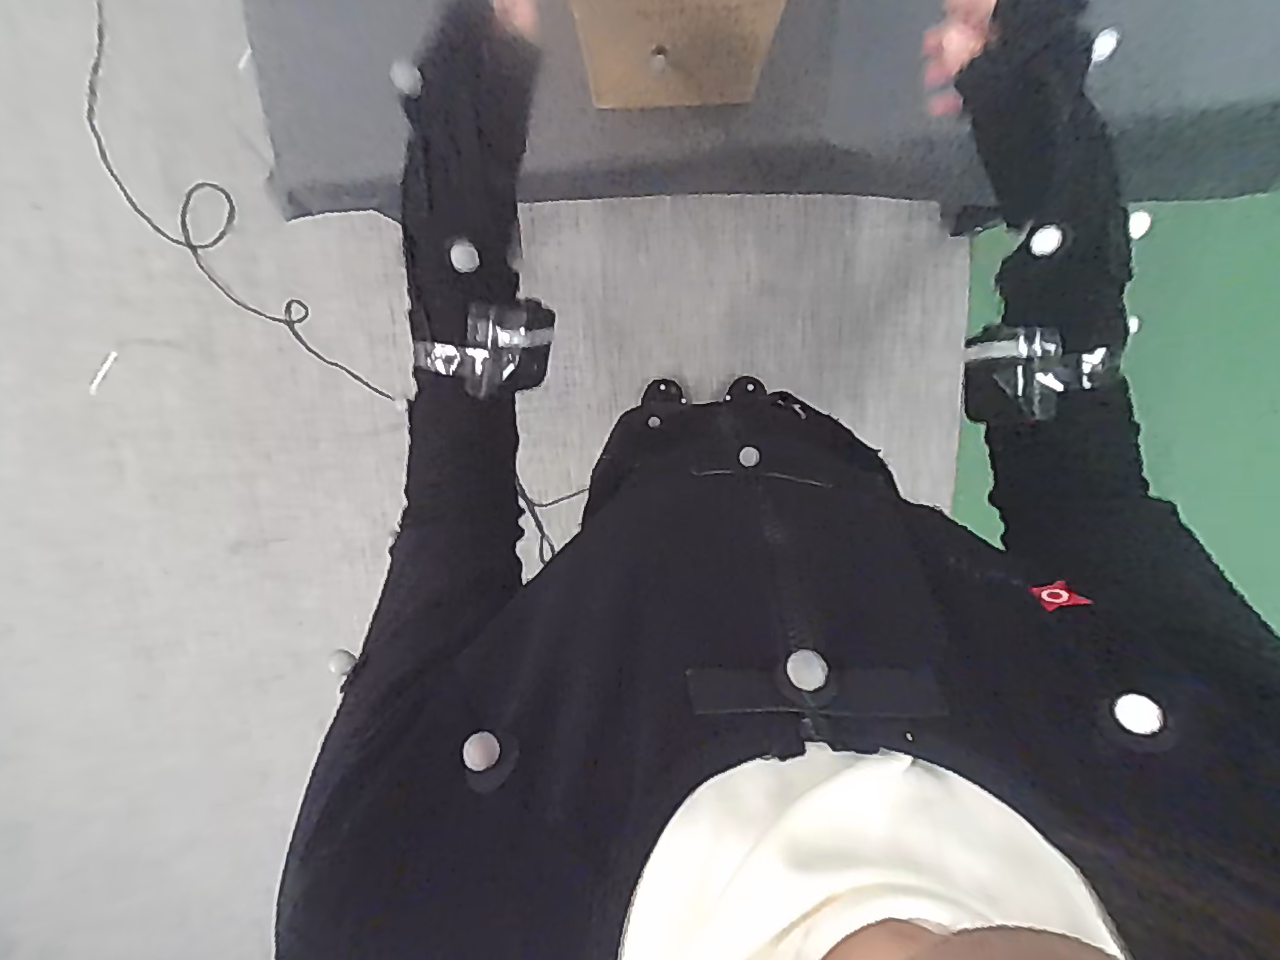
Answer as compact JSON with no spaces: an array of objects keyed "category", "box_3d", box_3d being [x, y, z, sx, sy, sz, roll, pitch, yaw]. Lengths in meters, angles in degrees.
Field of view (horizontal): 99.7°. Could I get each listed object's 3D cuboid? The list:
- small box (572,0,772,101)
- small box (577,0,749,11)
[{"category":"small box","box_3d":[0.032,-0.490,0.513,0.179,0.176,0.168,-1,101,2]},{"category":"small box","box_3d":[0.027,-0.457,0.355,0.179,0.176,0.168,-1,99,3]}]
